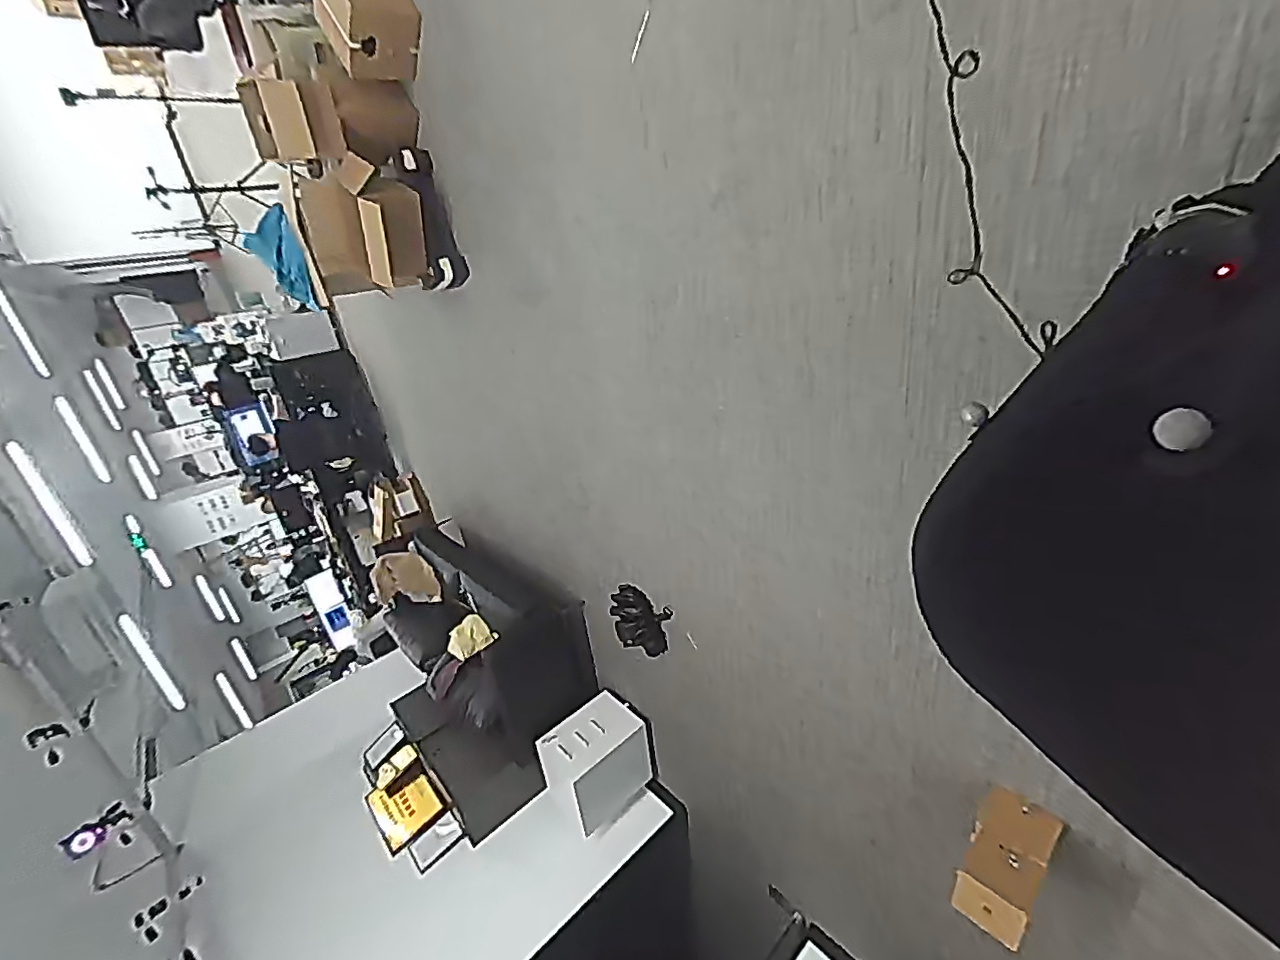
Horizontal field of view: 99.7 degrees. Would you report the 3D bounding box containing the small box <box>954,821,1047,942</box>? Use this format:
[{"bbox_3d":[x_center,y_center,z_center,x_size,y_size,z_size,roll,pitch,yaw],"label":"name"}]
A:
[{"bbox_3d":[1.010,1.117,1.515,0.168,0.176,0.179,19,125,43],"label":"small box"}]

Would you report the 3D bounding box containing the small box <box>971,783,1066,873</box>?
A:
[{"bbox_3d":[1.124,1.045,1.608,0.179,0.176,0.168,21,128,44],"label":"small box"}]
